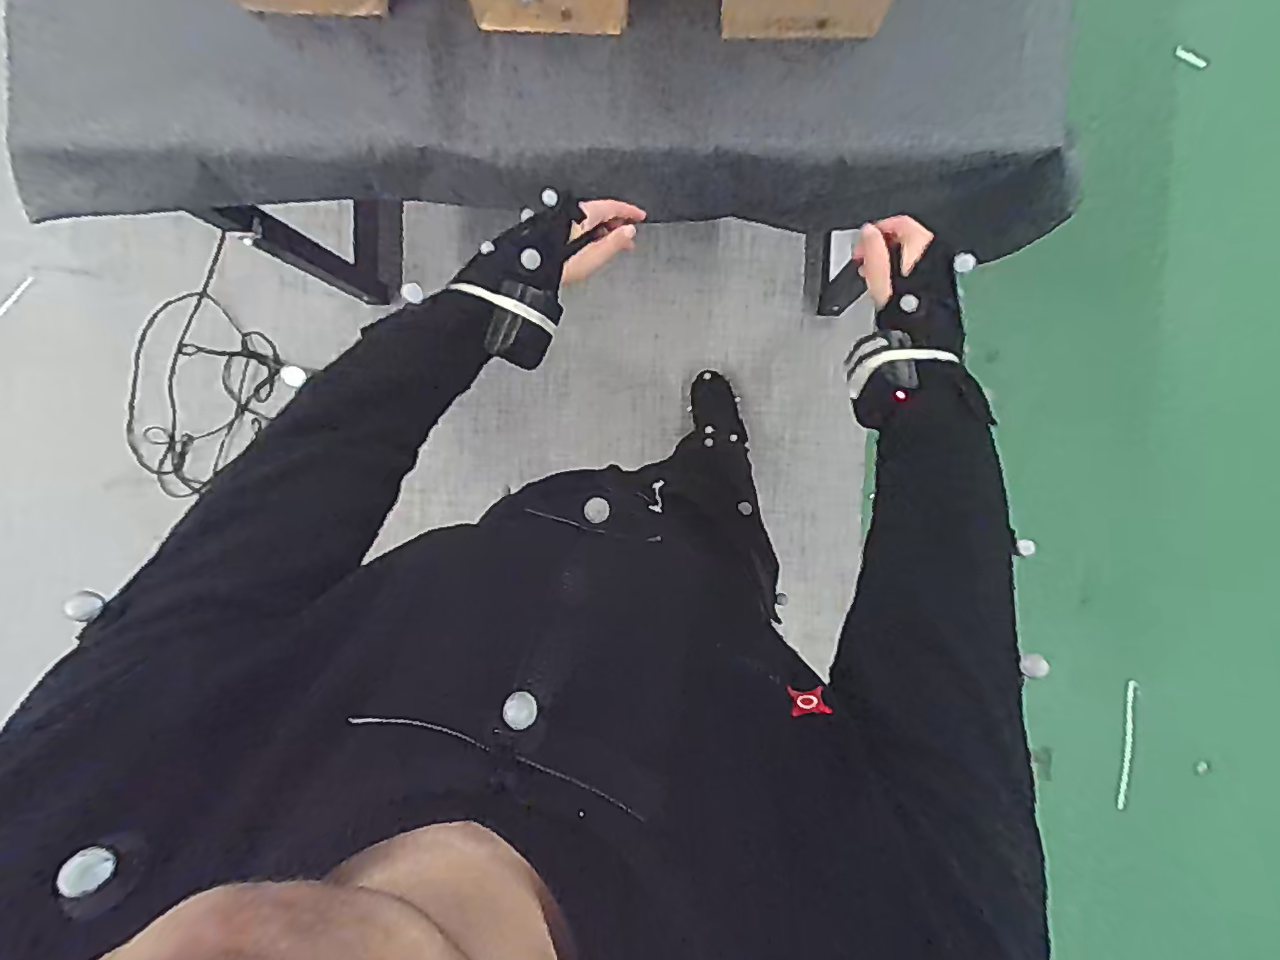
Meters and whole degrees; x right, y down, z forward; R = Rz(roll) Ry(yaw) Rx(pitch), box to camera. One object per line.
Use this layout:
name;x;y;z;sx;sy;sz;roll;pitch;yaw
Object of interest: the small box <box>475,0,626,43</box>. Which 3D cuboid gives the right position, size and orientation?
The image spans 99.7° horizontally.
small box;-0.097;-0.582;0.526;0.168;0.176;0.179;4;92;3
